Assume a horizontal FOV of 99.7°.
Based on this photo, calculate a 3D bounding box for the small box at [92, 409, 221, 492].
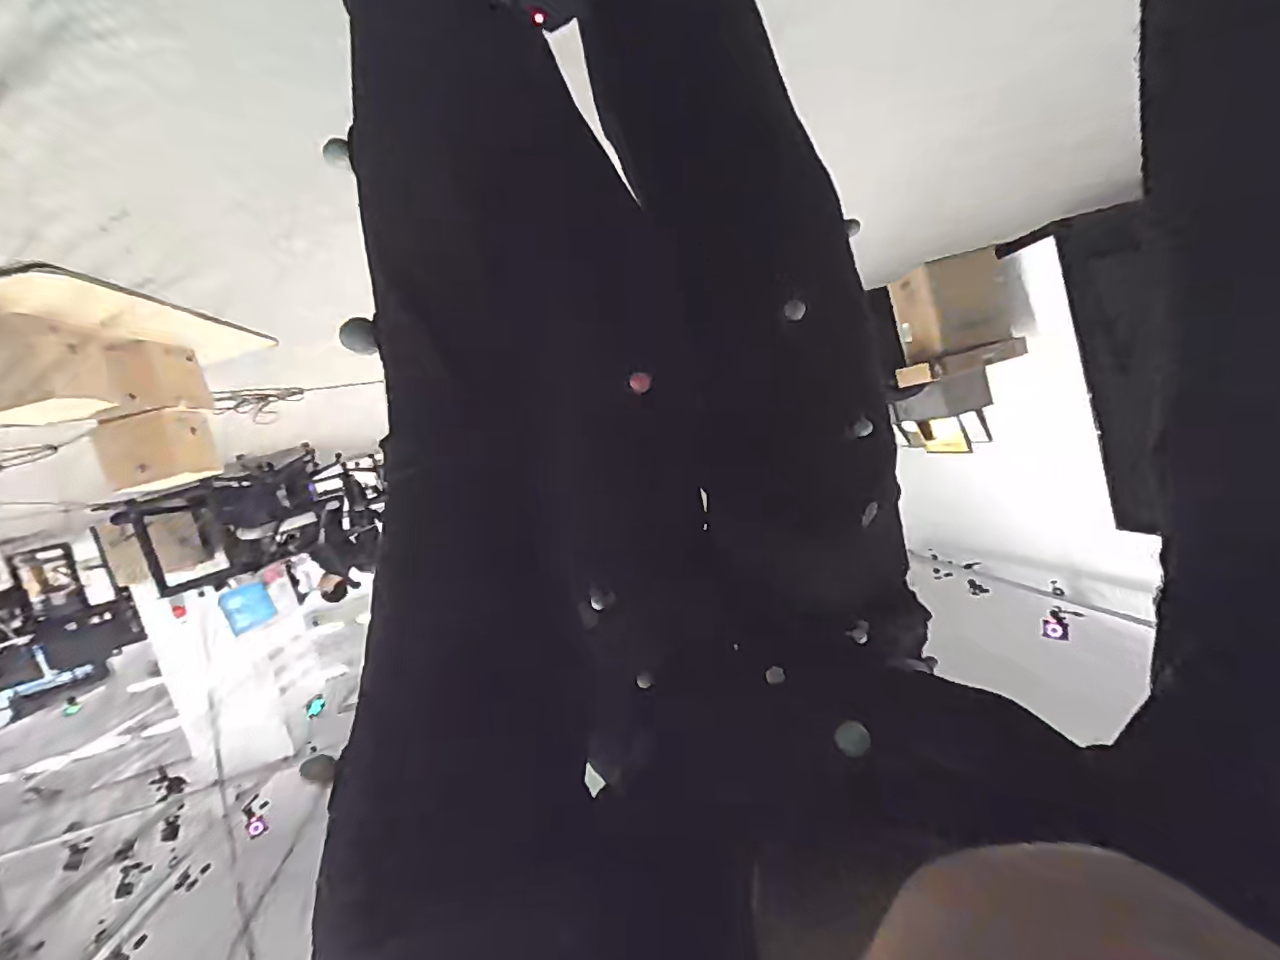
[{"bbox_3d":[-1.235,-0.077,1.381,0.179,0.176,0.168,-16,-175,-4],"label":"small box"}]

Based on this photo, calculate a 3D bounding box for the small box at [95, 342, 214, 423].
[{"bbox_3d":[-1.252,-0.241,1.373,0.179,0.176,0.168,-16,-175,-2],"label":"small box"}]

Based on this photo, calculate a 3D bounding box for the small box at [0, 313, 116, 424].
[{"bbox_3d":[-1.243,-0.221,1.094,0.179,0.176,0.168,-17,-174,-8],"label":"small box"}]
